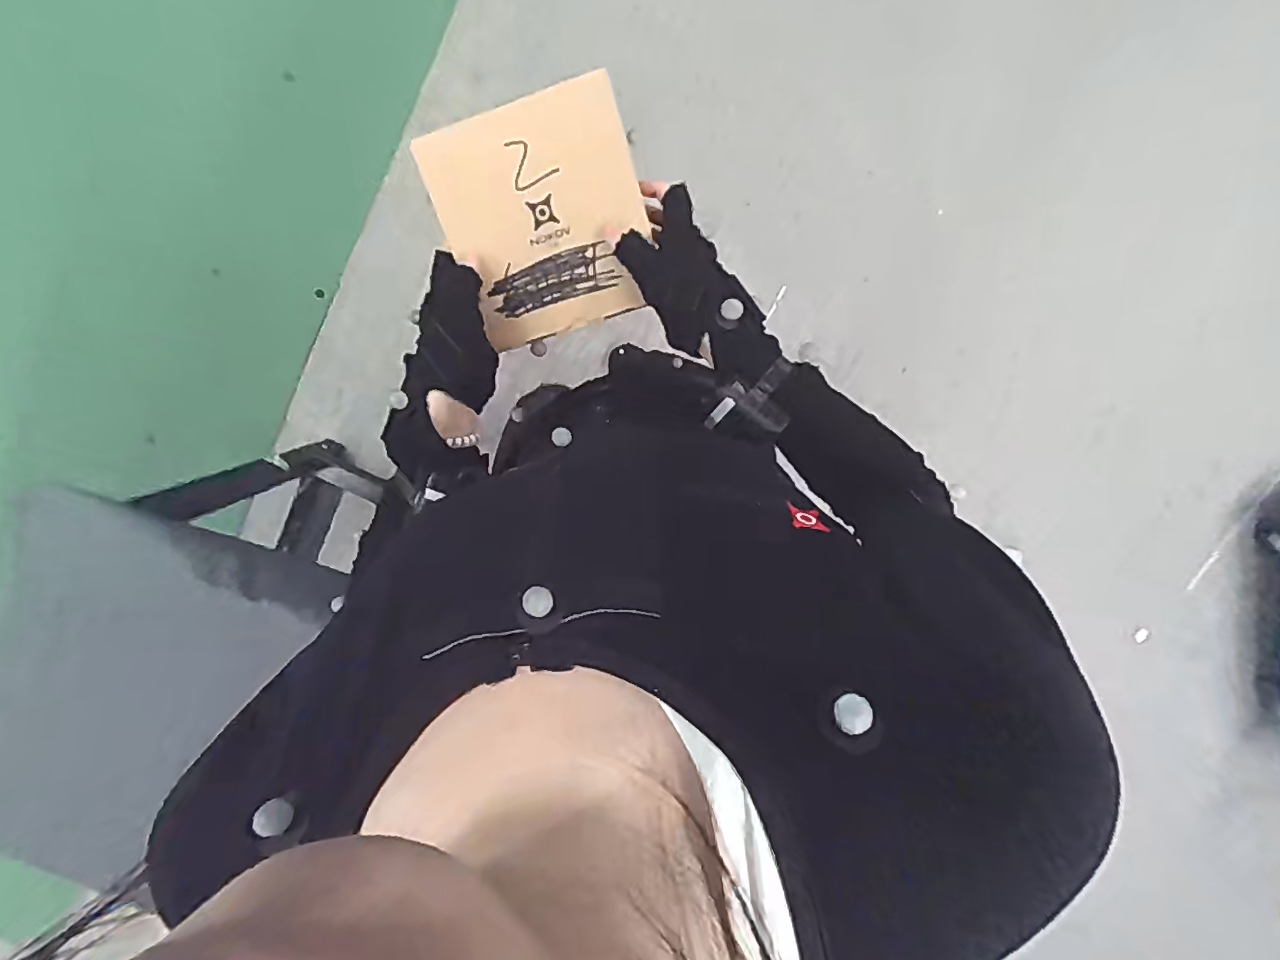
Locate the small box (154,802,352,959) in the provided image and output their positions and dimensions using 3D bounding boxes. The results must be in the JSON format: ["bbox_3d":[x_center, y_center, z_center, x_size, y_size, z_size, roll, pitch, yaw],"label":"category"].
[{"bbox_3d":[-0.580,0.647,0.827,0.168,0.176,0.179,29,100,-7],"label":"small box"}]
